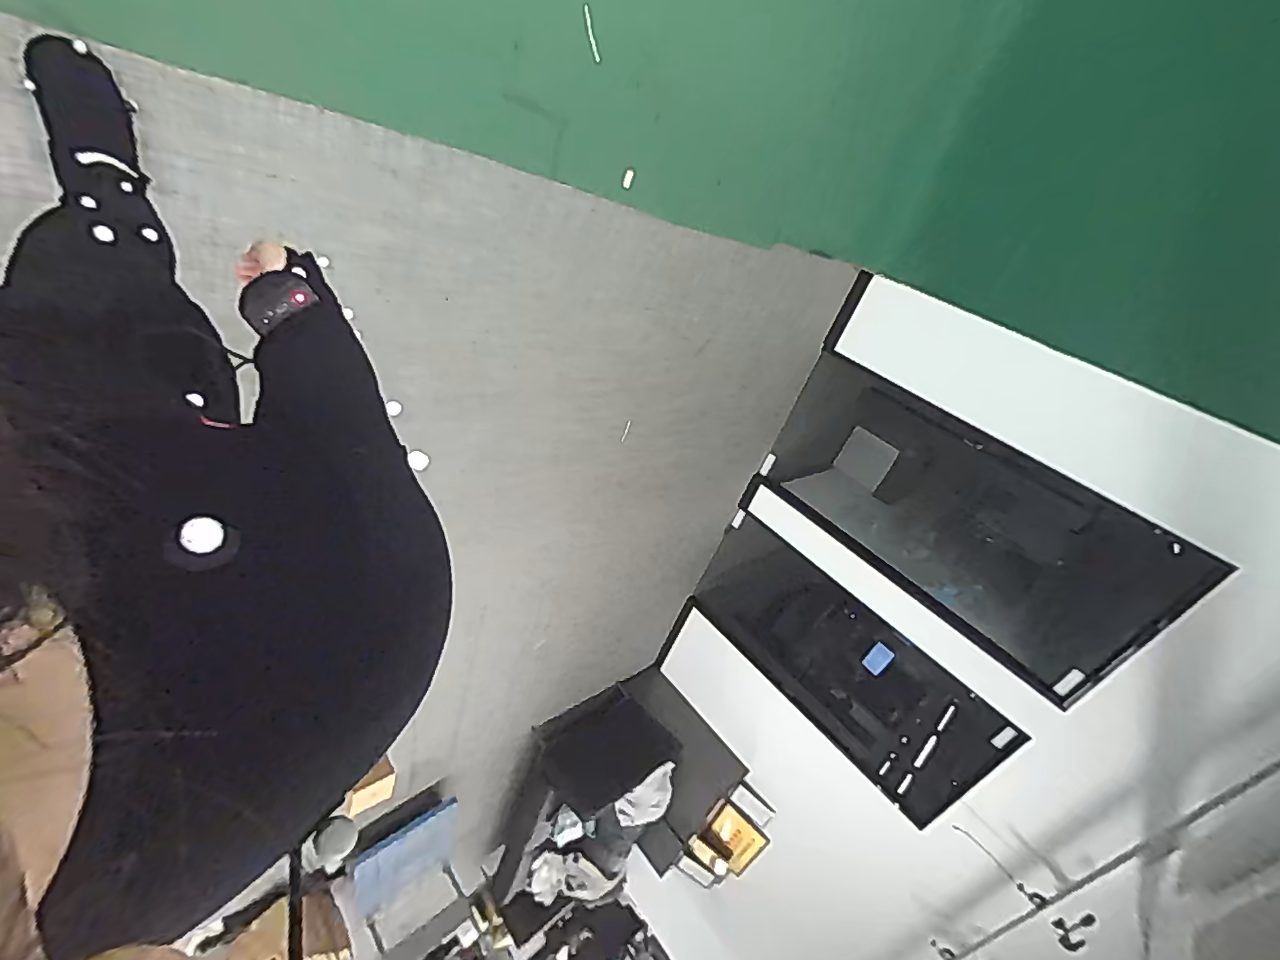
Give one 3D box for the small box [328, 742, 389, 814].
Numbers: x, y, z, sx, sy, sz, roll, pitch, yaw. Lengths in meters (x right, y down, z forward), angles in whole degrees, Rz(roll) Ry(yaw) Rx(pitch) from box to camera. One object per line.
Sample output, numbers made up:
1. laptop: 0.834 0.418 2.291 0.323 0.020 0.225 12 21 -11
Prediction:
1. small box: -1.160 1.212 2.220 0.168 0.176 0.179 -10 133 -46
